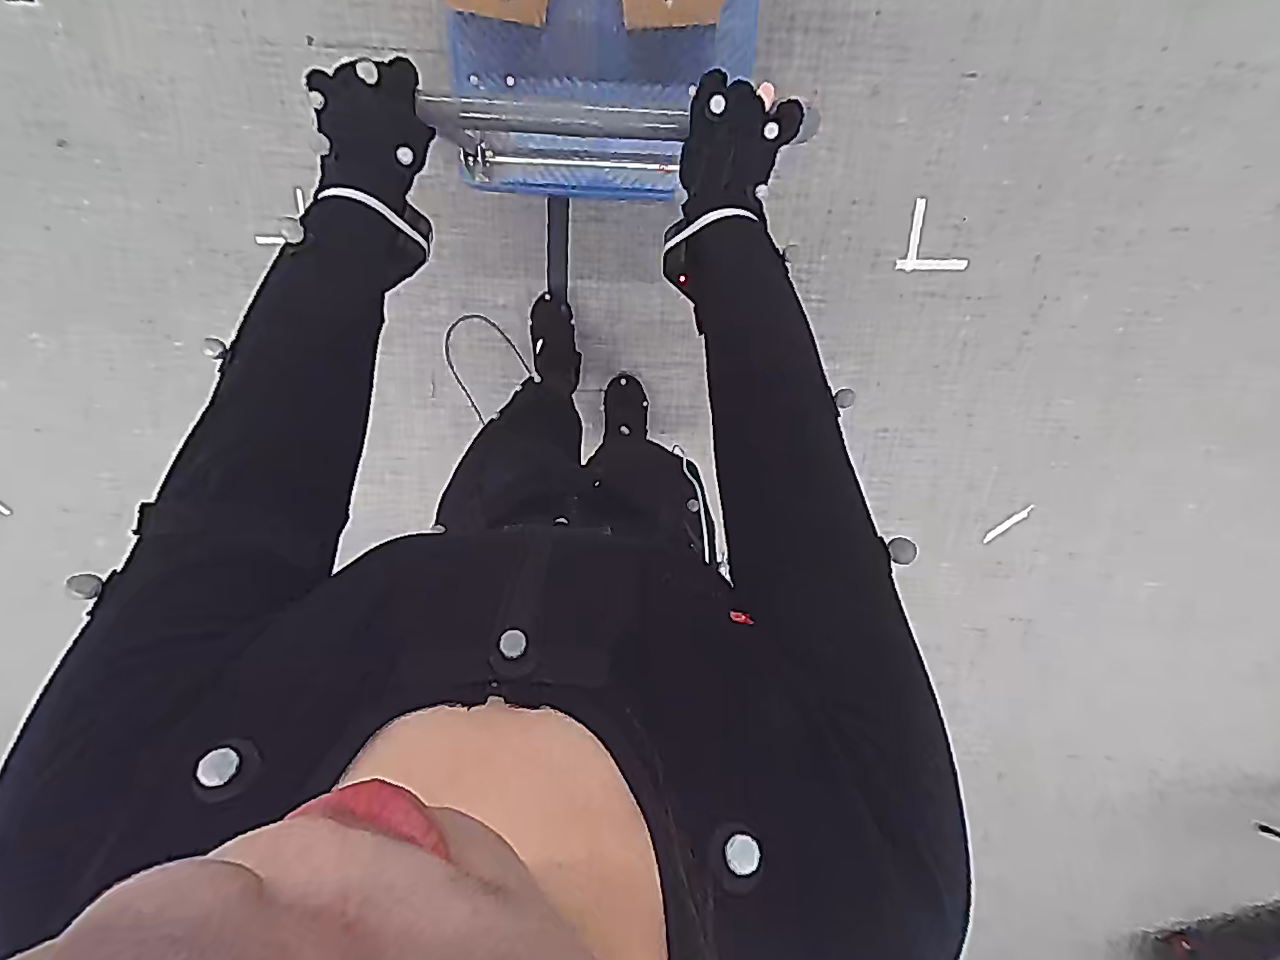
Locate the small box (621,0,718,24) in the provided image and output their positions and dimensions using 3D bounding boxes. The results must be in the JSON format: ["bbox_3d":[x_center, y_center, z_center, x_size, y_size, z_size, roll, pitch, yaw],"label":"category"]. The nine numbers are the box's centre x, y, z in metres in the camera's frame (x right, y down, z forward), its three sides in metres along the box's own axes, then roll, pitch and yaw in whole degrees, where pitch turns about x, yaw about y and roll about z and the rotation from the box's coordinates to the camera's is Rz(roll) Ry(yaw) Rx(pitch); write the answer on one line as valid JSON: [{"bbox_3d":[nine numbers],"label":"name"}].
[{"bbox_3d":[0.049,-0.888,0.891,0.179,0.176,0.168,-3,112,1],"label":"small box"}]

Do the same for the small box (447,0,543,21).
[{"bbox_3d":[-0.255,-0.897,0.888,0.179,0.176,0.168,7,111,-5],"label":"small box"}]
